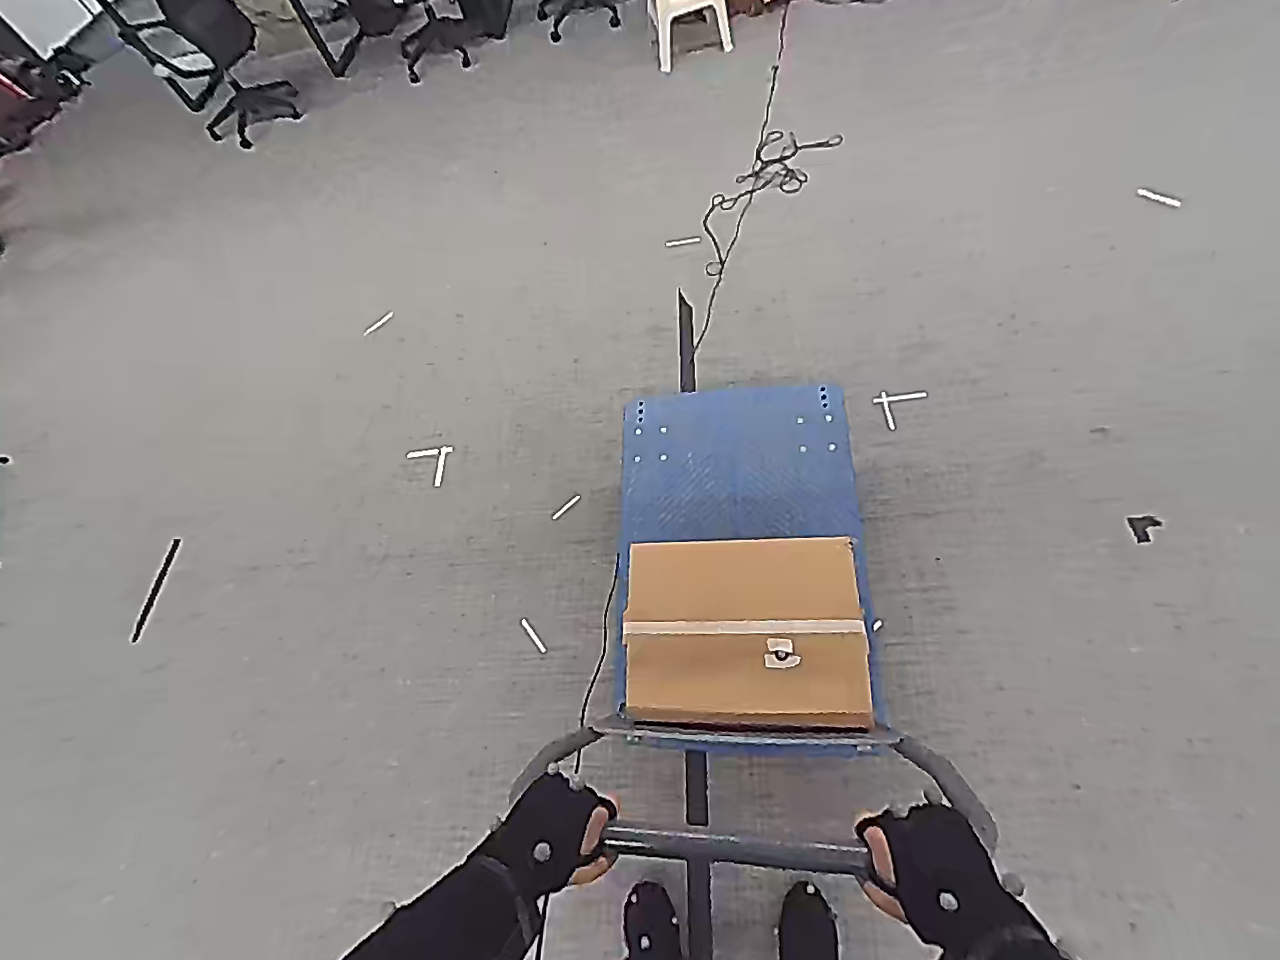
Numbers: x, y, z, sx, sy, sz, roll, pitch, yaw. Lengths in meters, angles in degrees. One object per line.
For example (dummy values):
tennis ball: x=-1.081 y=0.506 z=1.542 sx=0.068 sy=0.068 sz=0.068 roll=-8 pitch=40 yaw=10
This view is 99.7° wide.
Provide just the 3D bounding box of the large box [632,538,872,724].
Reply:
large box: x=0.207 y=0.314 z=1.094 sx=0.408 sy=0.320 sz=0.320 roll=-3 pitch=69 yaw=10
